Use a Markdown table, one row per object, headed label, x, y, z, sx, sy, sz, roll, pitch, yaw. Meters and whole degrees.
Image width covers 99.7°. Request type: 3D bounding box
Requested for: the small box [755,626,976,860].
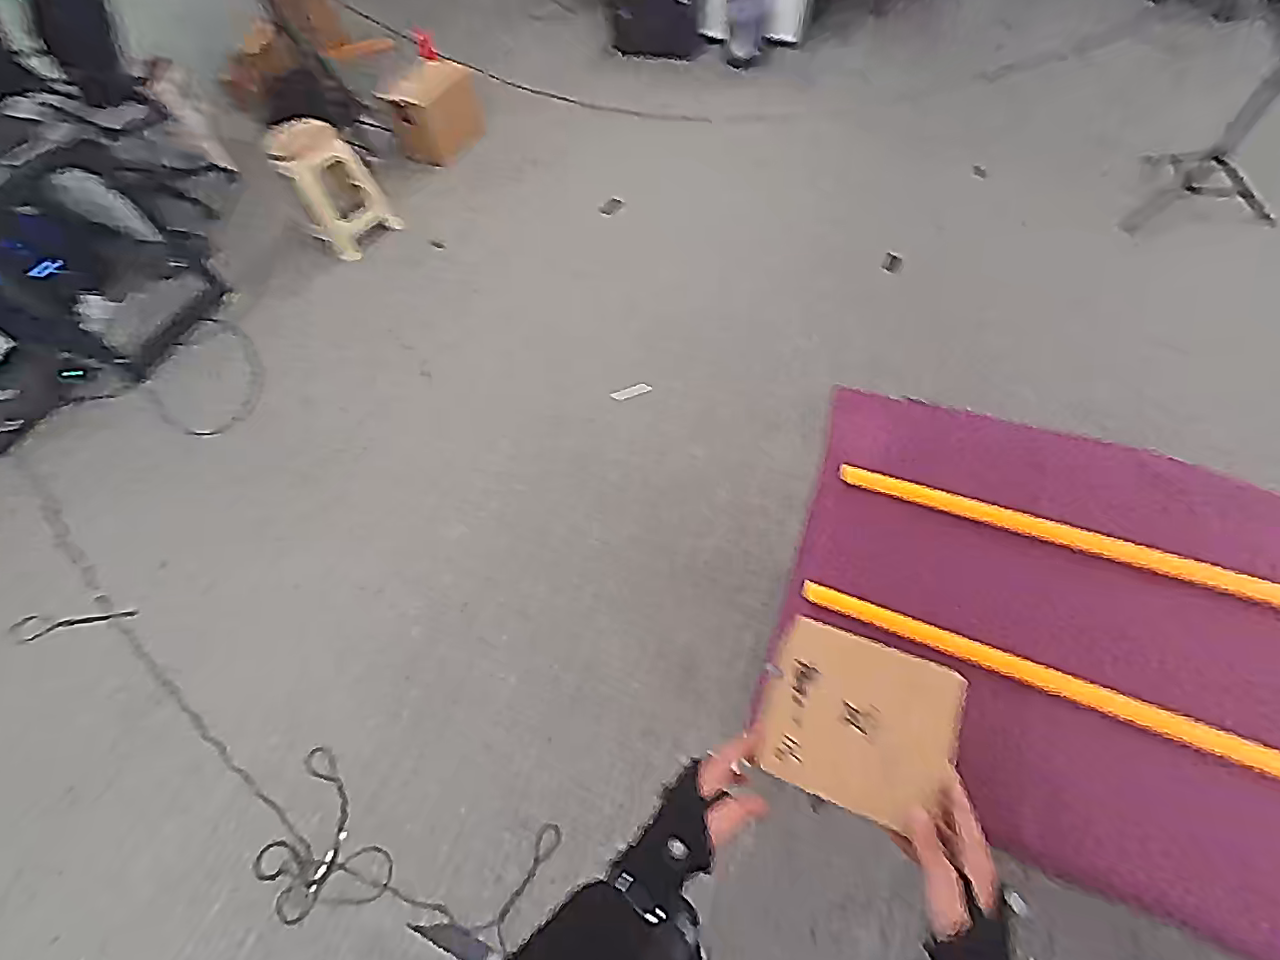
| label | x | y | z | sx | sy | sz | roll | pitch | yaw |
| --- | --- | --- | --- | --- | --- | --- | --- | --- | --- |
| small box | 0.243 | 0.289 | 0.619 | 0.179 | 0.176 | 0.168 | 19 | 67 | 16 |
